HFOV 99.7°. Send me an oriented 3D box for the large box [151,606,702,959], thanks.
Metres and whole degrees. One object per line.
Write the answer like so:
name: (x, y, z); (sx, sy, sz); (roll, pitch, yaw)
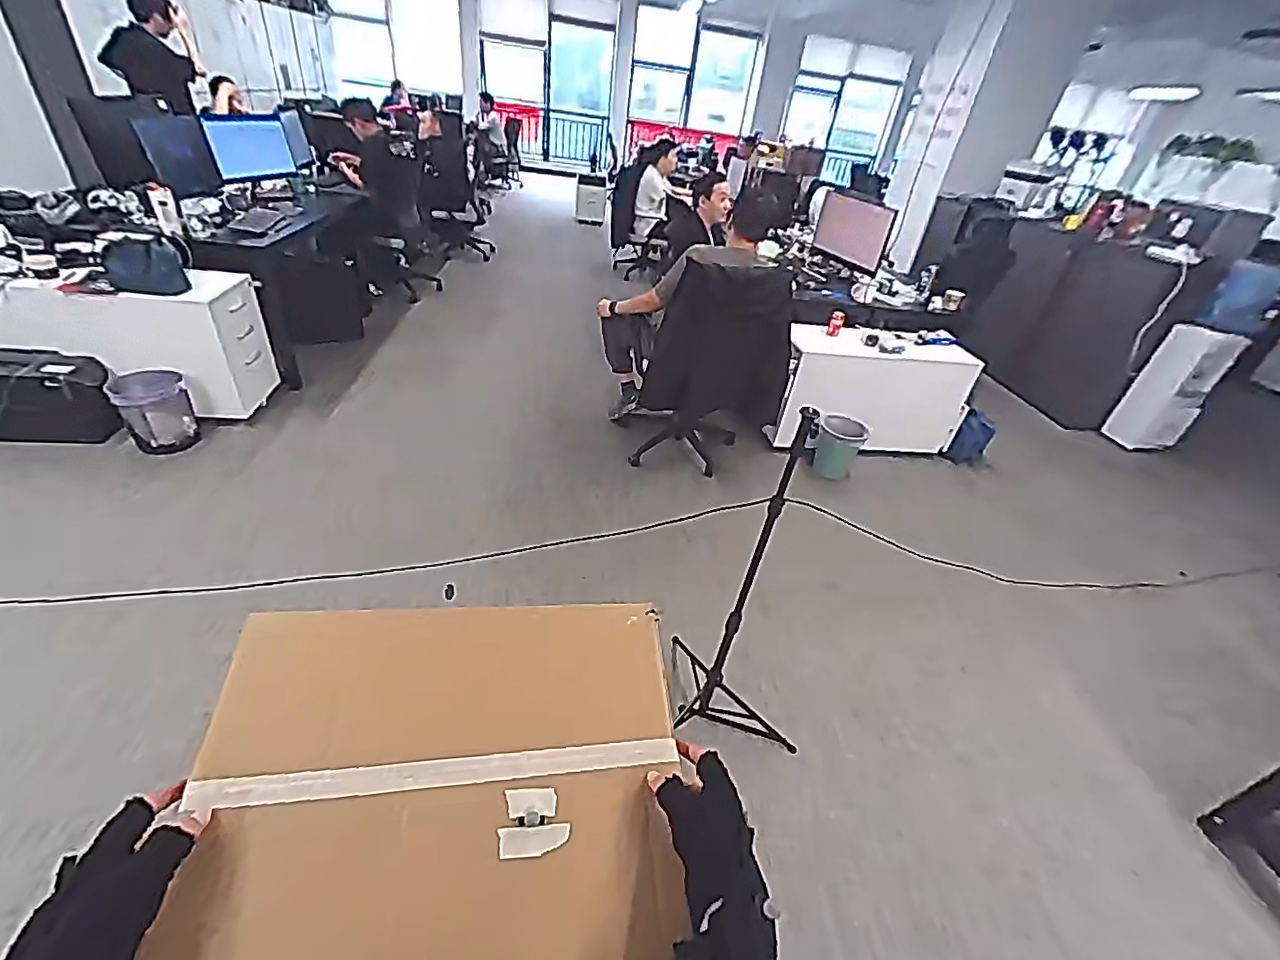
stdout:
large box: (-0.191, 0.354, 0.595); (0.408, 0.320, 0.320); (2, 50, -14)
